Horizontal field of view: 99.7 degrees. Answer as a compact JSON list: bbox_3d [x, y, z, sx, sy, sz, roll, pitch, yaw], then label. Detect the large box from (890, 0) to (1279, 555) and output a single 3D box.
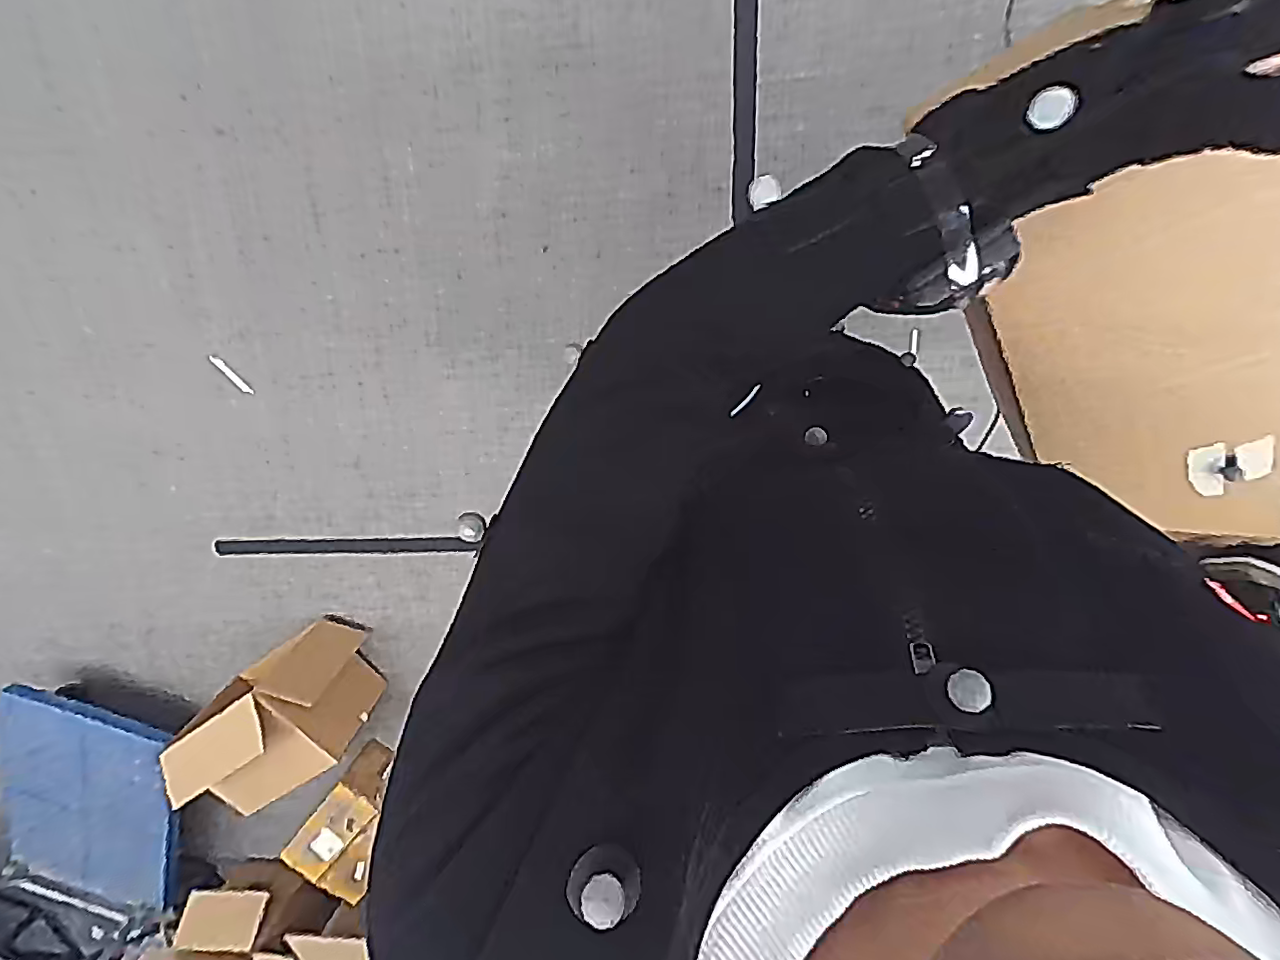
[{"bbox_3d":[0.467,-0.202,0.471,0.320,0.320,0.408,-22,126,33],"label":"large box"}]
